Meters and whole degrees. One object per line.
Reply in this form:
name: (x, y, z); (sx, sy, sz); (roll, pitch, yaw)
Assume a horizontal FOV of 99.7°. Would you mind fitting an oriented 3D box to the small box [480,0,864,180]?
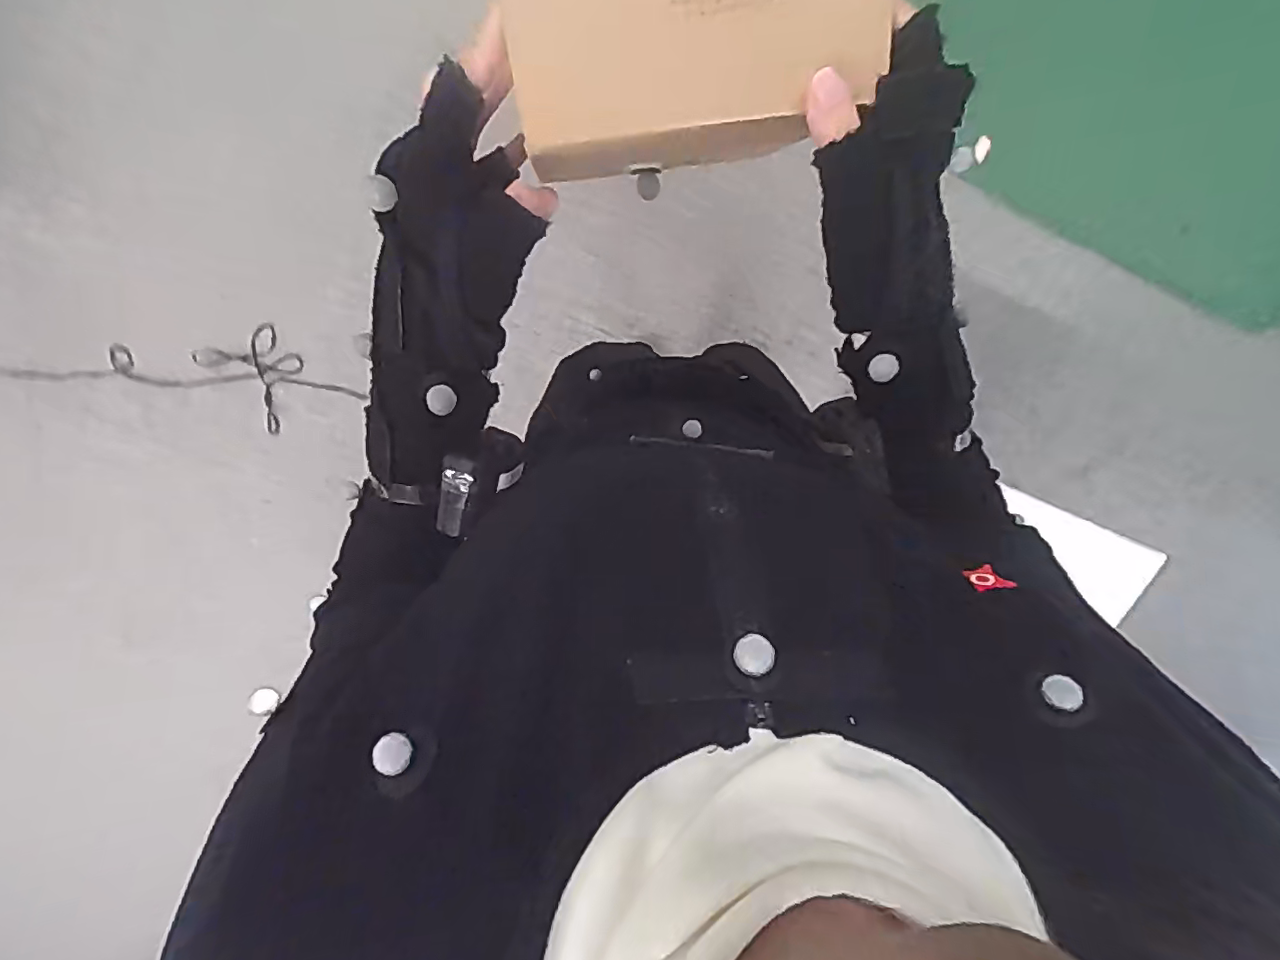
small box: (0.000, -0.274, 0.282); (0.168, 0.176, 0.179); (-10, 114, -2)
